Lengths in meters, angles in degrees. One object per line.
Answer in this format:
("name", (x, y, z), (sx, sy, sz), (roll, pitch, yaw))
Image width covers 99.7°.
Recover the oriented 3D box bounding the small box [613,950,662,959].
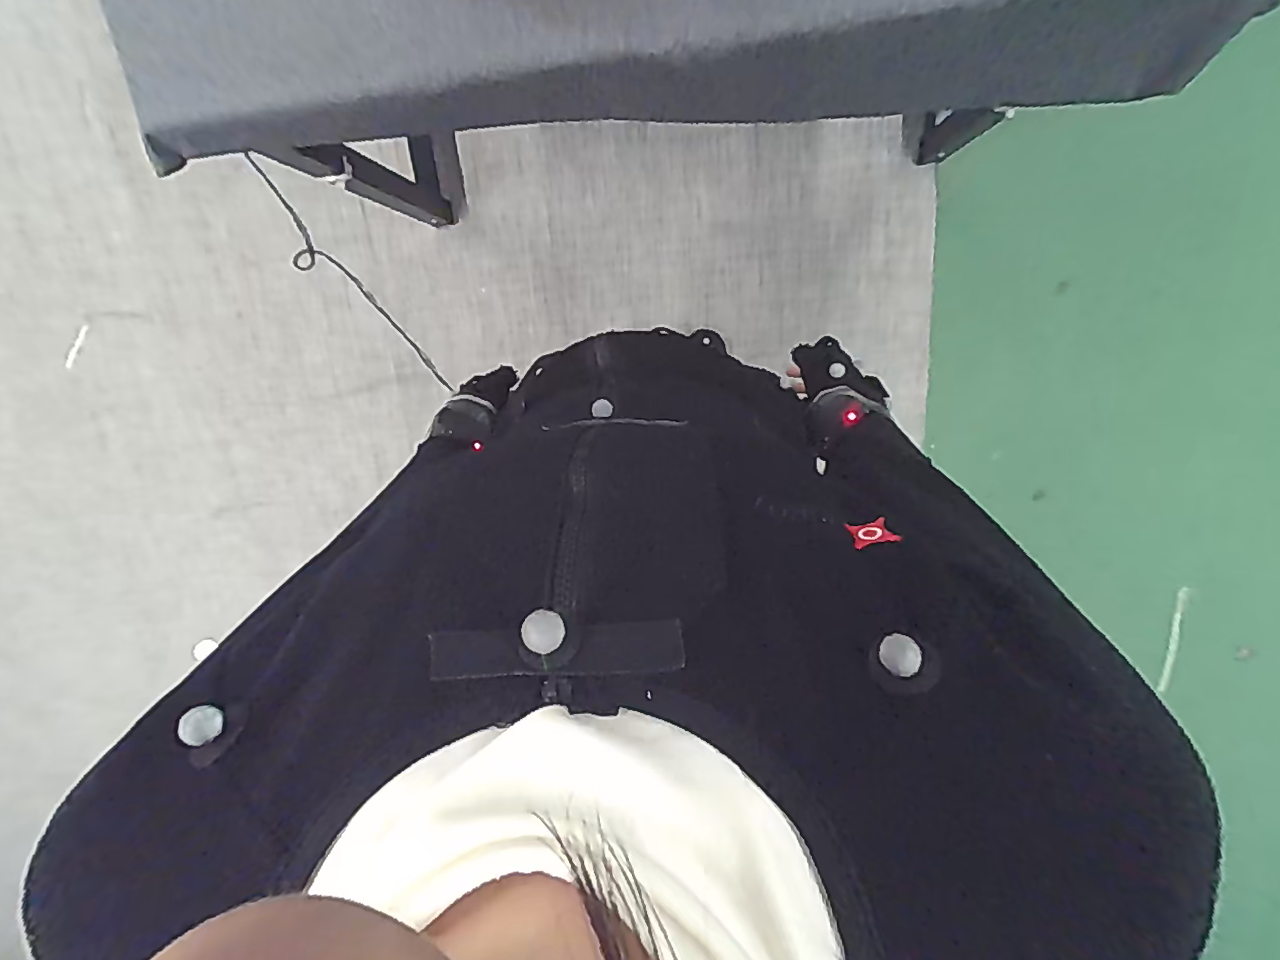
("small box", (-0.010, 1.765, 1.862), (0.179, 0.176, 0.168), (-4, 105, 4))
